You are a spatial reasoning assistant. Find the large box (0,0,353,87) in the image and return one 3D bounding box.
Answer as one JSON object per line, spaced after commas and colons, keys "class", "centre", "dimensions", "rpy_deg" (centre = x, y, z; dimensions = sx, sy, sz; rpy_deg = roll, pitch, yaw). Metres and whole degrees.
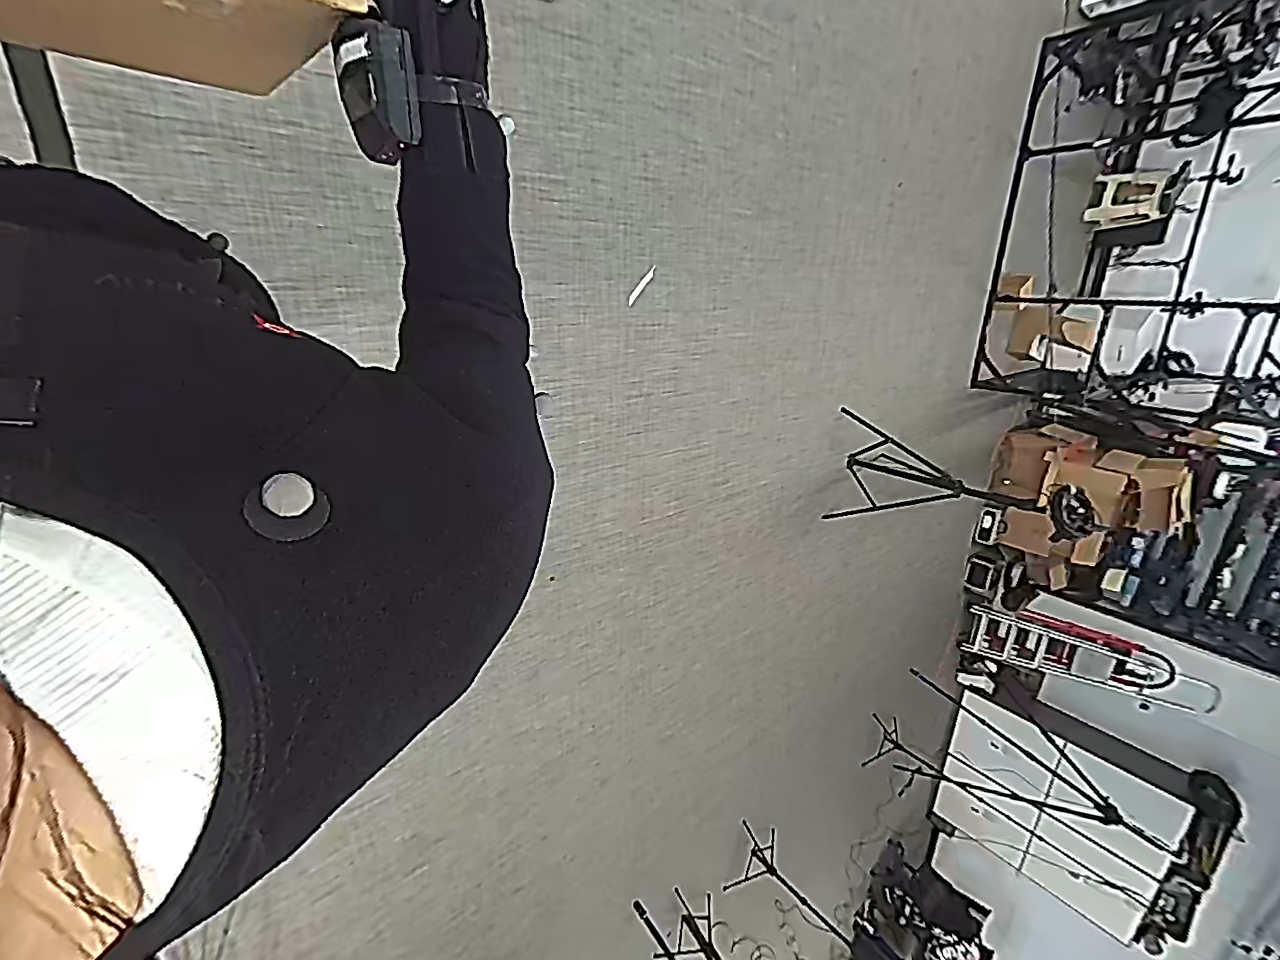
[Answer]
{"class": "large box", "centre": [-0.402, -0.421, 0.234], "dimensions": [0.408, 0.320, 0.320], "rpy_deg": [-16, 120, -40]}
